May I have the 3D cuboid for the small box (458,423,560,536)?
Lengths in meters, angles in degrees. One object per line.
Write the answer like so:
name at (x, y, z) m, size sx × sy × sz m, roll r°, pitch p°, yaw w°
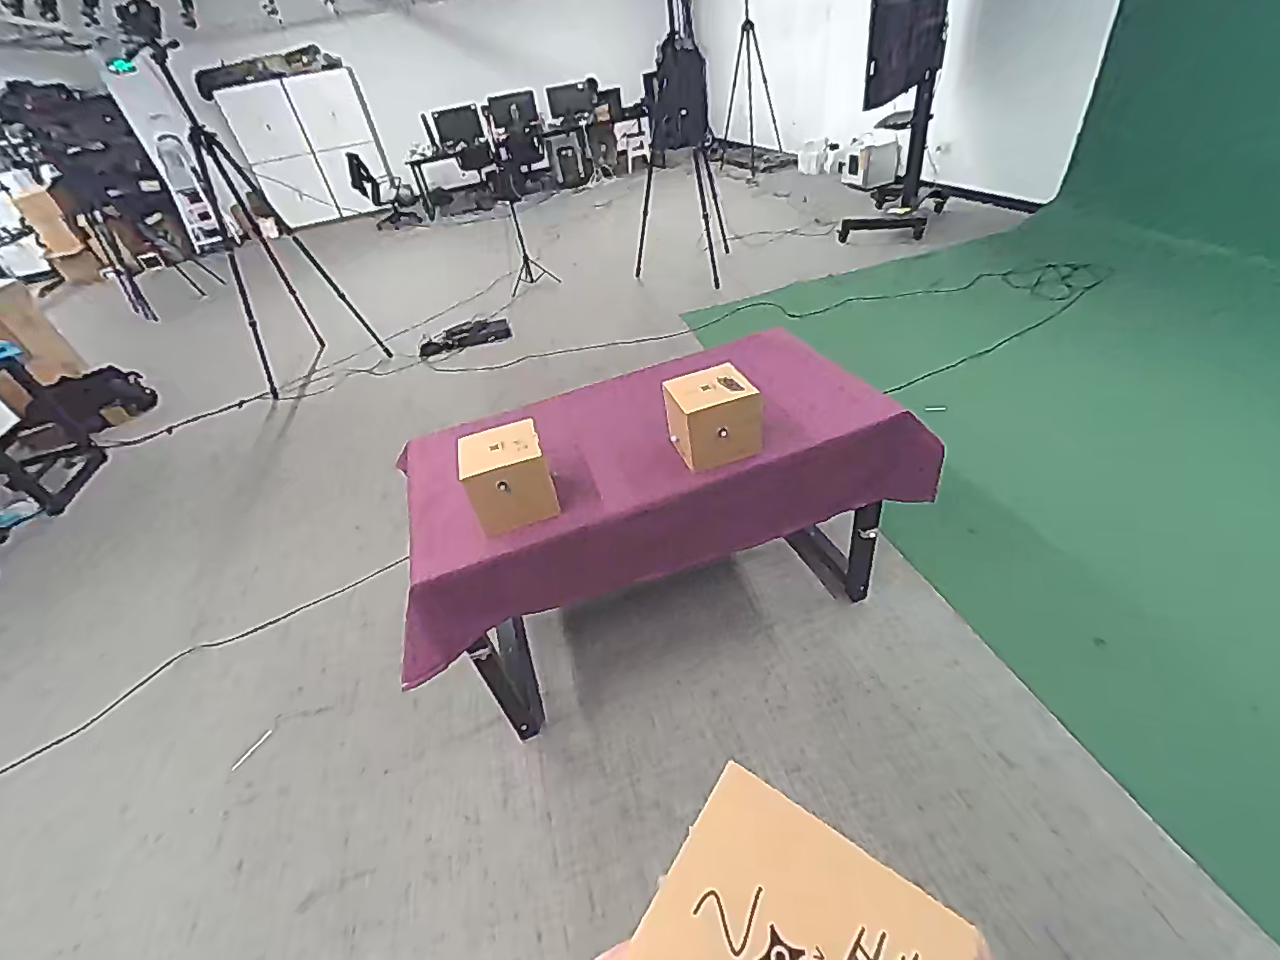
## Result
small box at (-0.294, 0.001, 1.215) m, size 0.179 × 0.176 × 0.168 m, roll -17°, pitch 38°, yaw -7°

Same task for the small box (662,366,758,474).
small box at (0.167, -0.142, 1.279) m, size 0.179 × 0.176 × 0.168 m, roll -18°, pitch 38°, yaw -7°
